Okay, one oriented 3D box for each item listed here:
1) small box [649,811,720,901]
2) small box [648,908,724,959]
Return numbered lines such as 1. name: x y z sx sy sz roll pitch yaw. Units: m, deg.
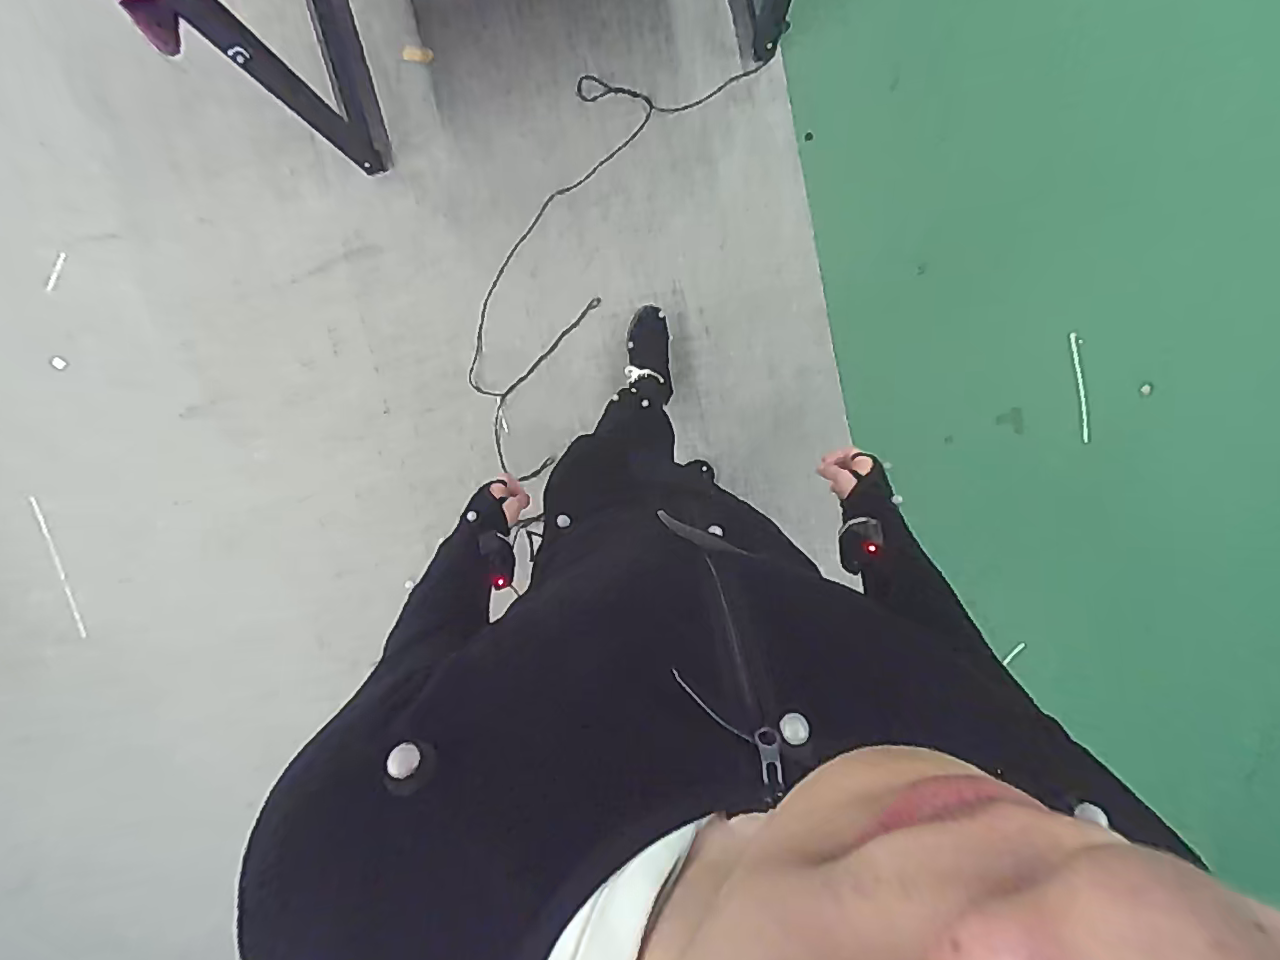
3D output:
1. small box: 0.133 1.155 1.641 0.168 0.176 0.179 -19 95 4
2. small box: 0.117 1.193 1.318 0.168 0.176 0.179 -15 96 3
